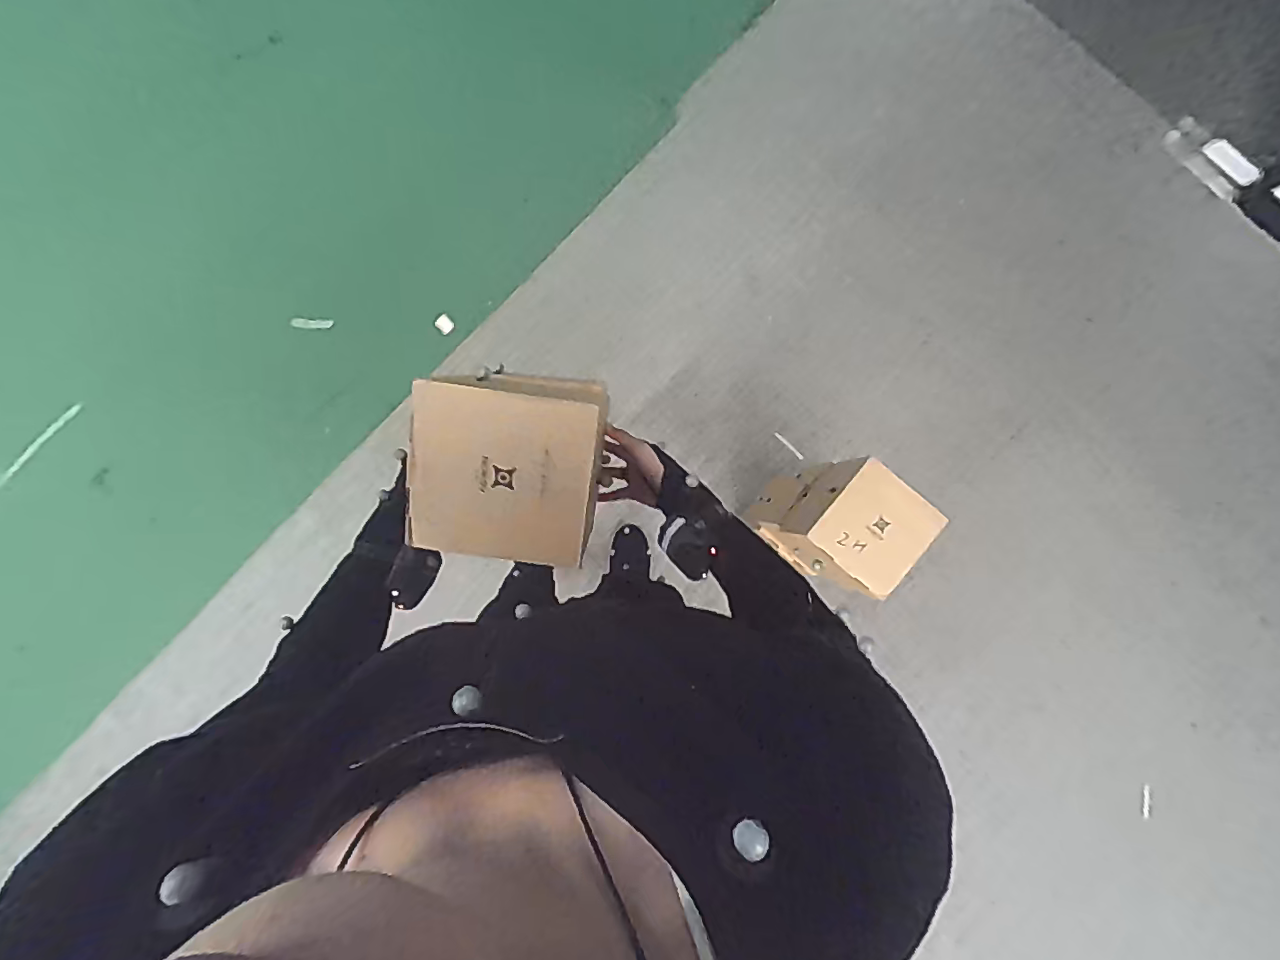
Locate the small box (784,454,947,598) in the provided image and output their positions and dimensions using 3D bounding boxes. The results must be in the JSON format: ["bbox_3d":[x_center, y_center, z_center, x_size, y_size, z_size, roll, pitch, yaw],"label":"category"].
[{"bbox_3d":[0.380,0.076,0.949,0.168,0.176,0.179,41,88,1],"label":"small box"}]

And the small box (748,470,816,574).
[{"bbox_3d":[0.376,0.096,1.278,0.168,0.176,0.179,42,88,0],"label":"small box"}]

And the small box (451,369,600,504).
[{"bbox_3d":[-0.148,-0.063,0.742,0.179,0.176,0.168,4,102,0],"label":"small box"}]

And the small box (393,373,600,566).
[{"bbox_3d":[-0.142,-0.023,0.584,0.179,0.176,0.168,7,103,-3],"label":"small box"}]

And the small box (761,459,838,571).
[{"bbox_3d":[0.376,0.080,1.114,0.179,0.176,0.168,43,88,0],"label":"small box"}]
